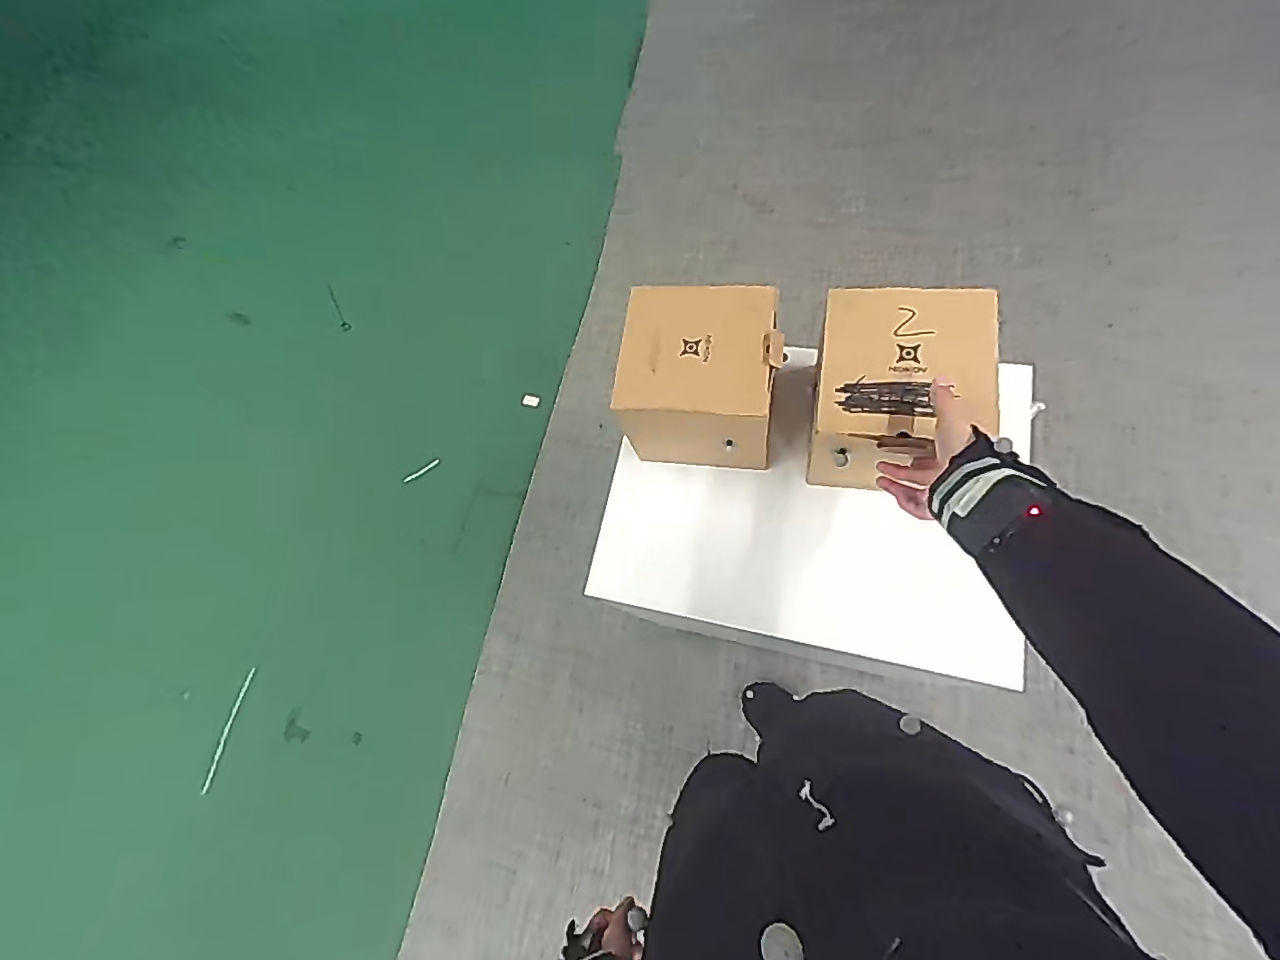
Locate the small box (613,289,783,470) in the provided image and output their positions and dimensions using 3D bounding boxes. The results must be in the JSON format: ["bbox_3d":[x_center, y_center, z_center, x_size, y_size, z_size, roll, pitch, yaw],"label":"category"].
[{"bbox_3d":[0.082,-0.119,0.681,0.179,0.176,0.168,4,71,14],"label":"small box"}]
